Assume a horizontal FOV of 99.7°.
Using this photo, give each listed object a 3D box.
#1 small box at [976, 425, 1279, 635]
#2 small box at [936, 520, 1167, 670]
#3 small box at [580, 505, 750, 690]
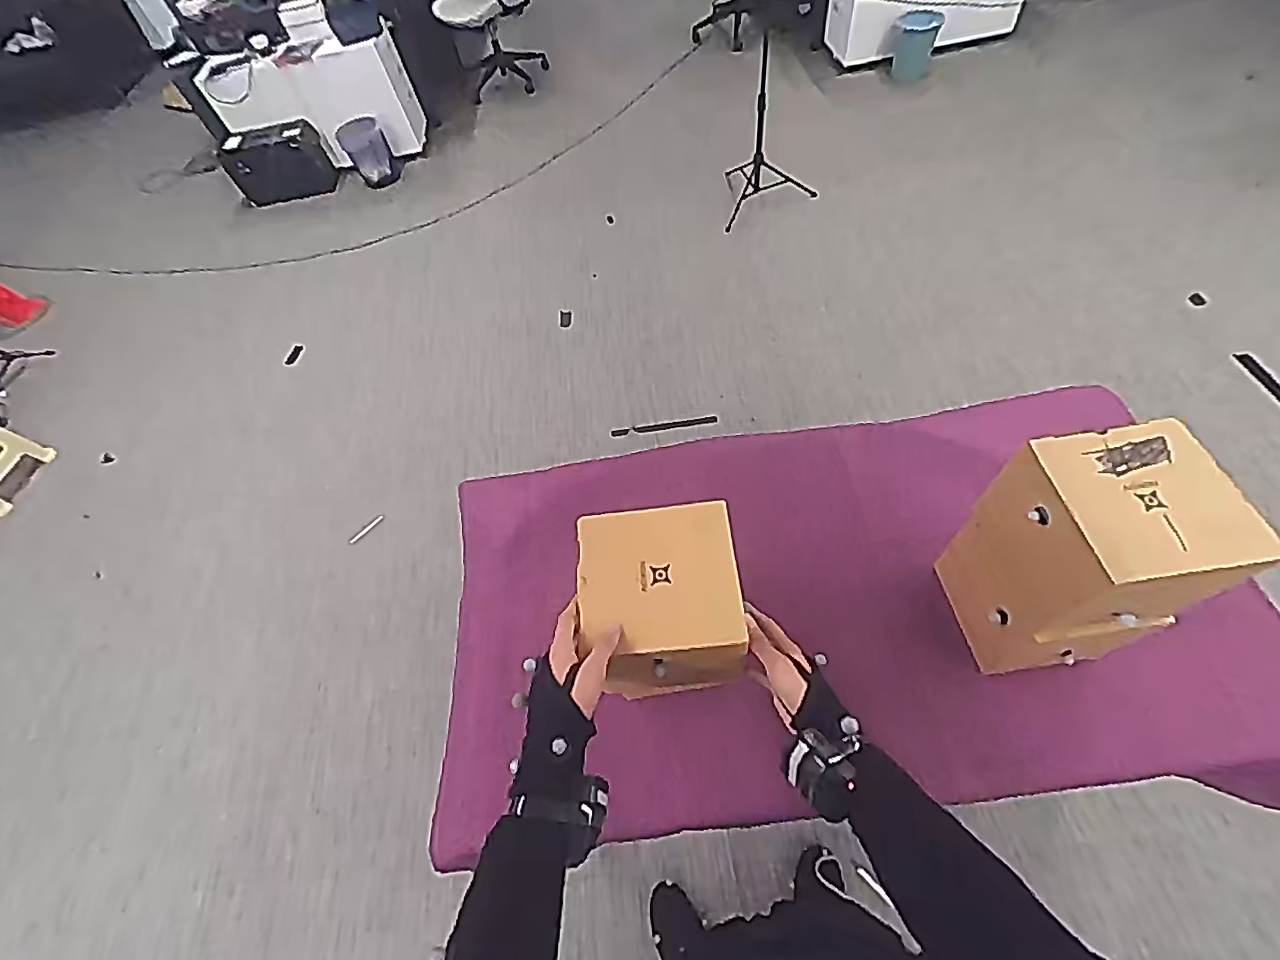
[{"bbox_3d":[0.533,0.063,0.629,0.168,0.176,0.179,-9,57,4],"label":"small box"},{"bbox_3d":[0.554,0.159,0.762,0.168,0.176,0.179,-9,57,3],"label":"small box"},{"bbox_3d":[0.030,0.148,0.655,0.179,0.176,0.168,-8,57,5],"label":"small box"}]
